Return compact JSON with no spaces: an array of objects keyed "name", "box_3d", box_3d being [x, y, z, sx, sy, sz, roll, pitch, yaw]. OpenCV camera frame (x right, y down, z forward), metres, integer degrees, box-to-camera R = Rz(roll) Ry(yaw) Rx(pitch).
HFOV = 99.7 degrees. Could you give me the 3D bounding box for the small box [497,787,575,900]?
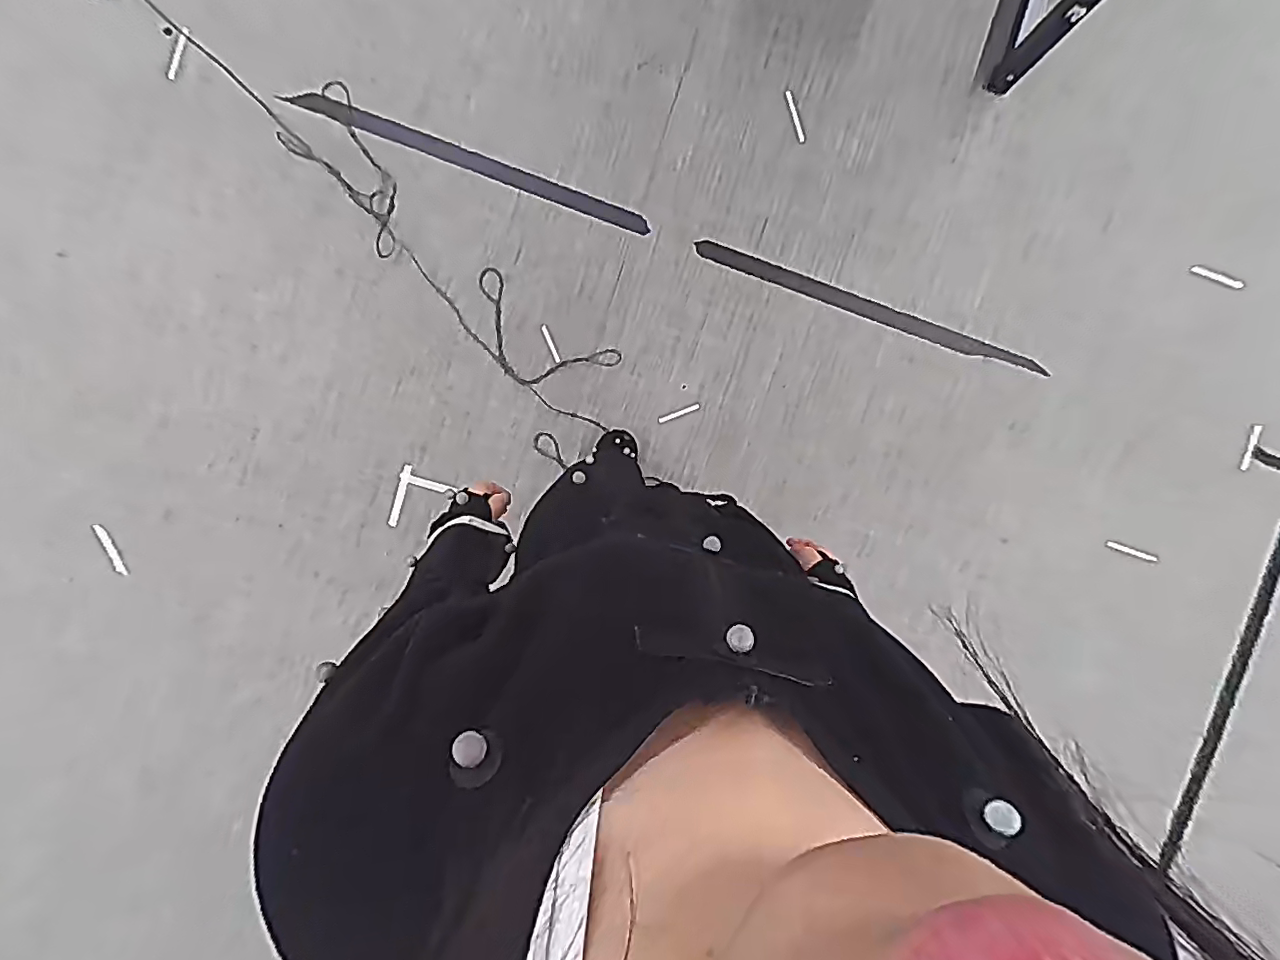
[{"name":"small box","box_3d":[-0.269,0.959,1.436,0.168,0.176,0.179,9,92,-3]}]
